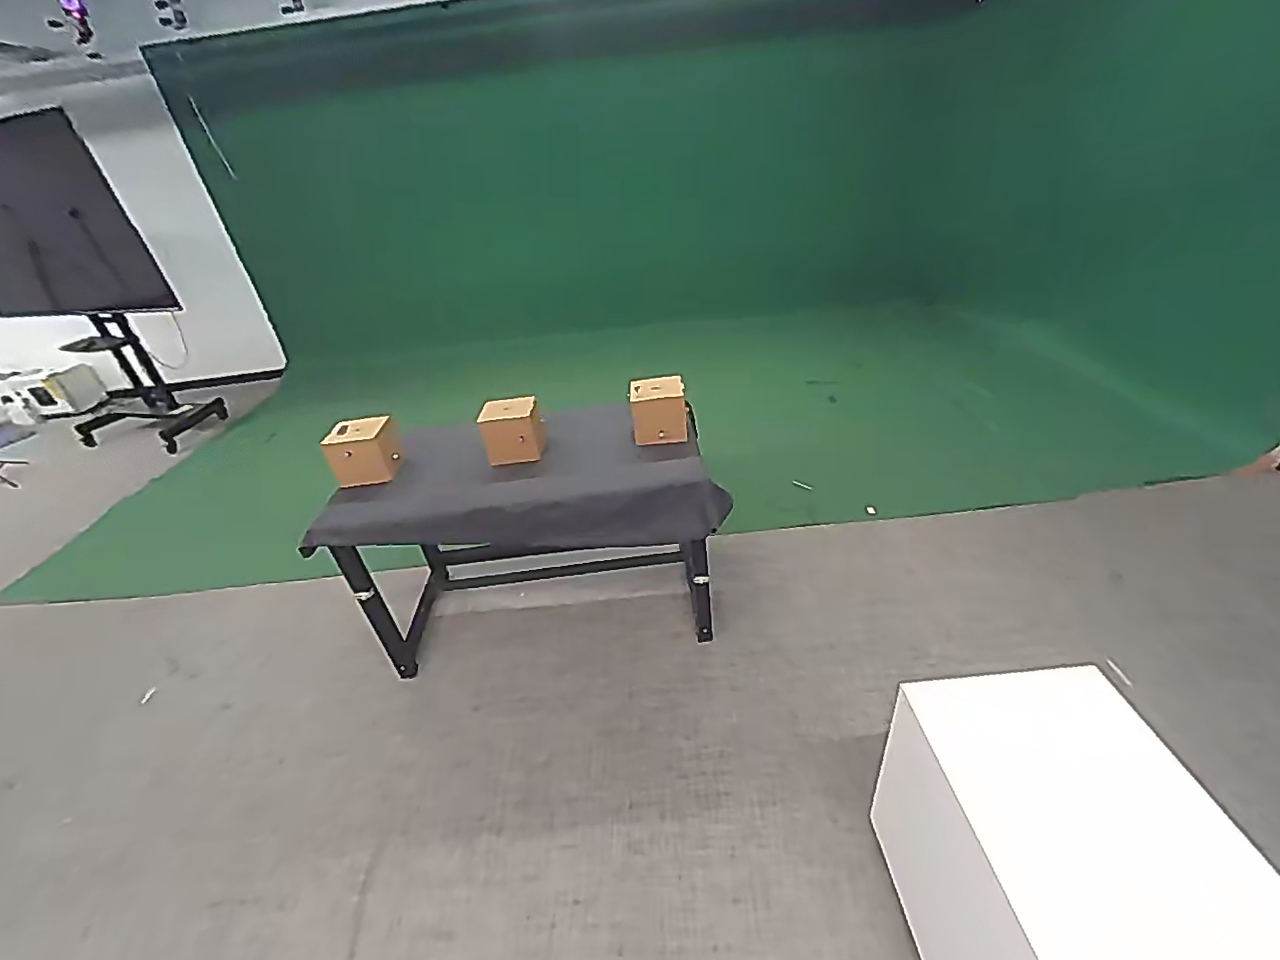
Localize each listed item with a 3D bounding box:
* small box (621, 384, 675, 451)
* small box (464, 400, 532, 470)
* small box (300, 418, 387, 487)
[{"bbox_3d":[0.028,-0.211,1.827,0.179,0.176,0.168,-5,32,1],"label":"small box"},{"bbox_3d":[-0.467,-0.151,1.811,0.179,0.176,0.168,-7,30,0],"label":"small box"},{"bbox_3d":[-0.966,-0.087,1.779,0.179,0.176,0.168,-6,32,-4],"label":"small box"}]
